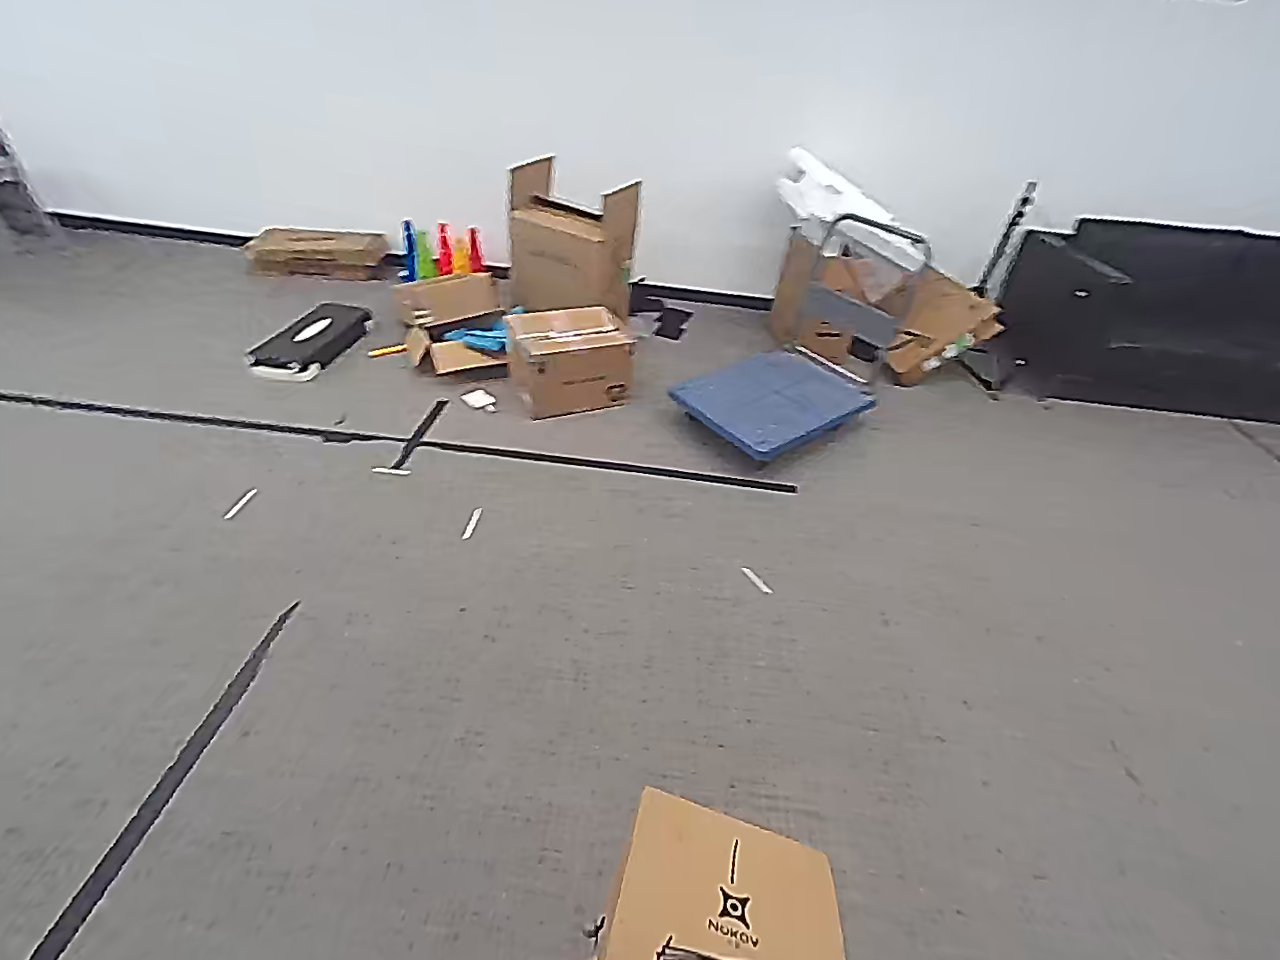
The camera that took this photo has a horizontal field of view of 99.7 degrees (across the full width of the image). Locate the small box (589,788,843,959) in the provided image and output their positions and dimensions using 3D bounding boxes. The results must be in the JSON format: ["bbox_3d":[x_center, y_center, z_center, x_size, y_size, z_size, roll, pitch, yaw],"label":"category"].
[{"bbox_3d":[0.042,0.384,0.400,0.168,0.176,0.179,17,15,7],"label":"small box"}]
